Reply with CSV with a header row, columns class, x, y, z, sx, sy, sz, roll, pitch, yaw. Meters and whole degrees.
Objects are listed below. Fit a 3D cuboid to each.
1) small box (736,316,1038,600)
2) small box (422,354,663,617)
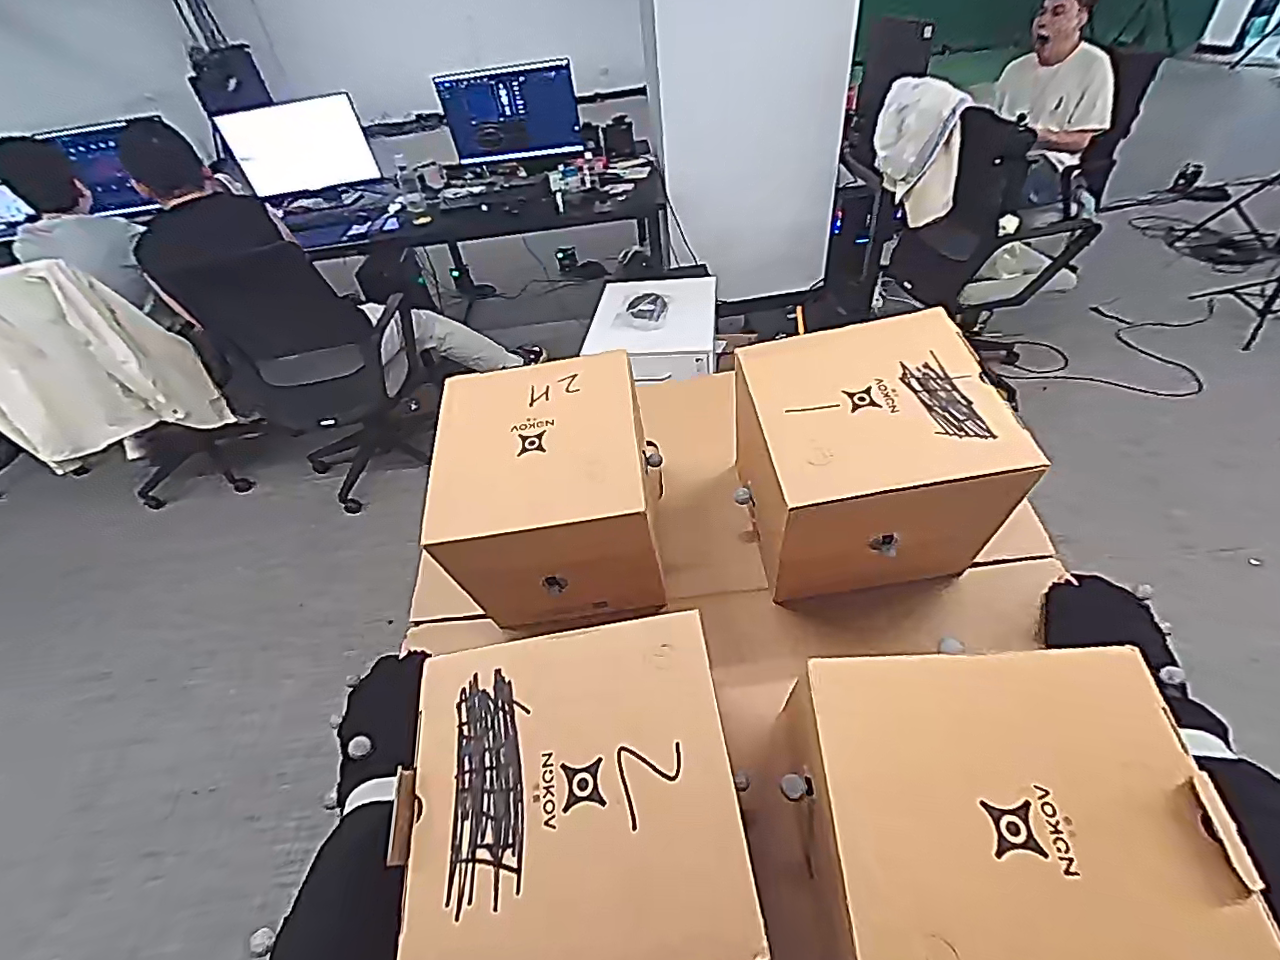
class,x,y,z,sx,sy,sz,roll,pitch,yaw
small box,0.183,-0.010,0.471,0.179,0.176,0.168,-10,55,4
small box,-0.074,0.015,0.498,0.168,0.176,0.179,-8,54,3
